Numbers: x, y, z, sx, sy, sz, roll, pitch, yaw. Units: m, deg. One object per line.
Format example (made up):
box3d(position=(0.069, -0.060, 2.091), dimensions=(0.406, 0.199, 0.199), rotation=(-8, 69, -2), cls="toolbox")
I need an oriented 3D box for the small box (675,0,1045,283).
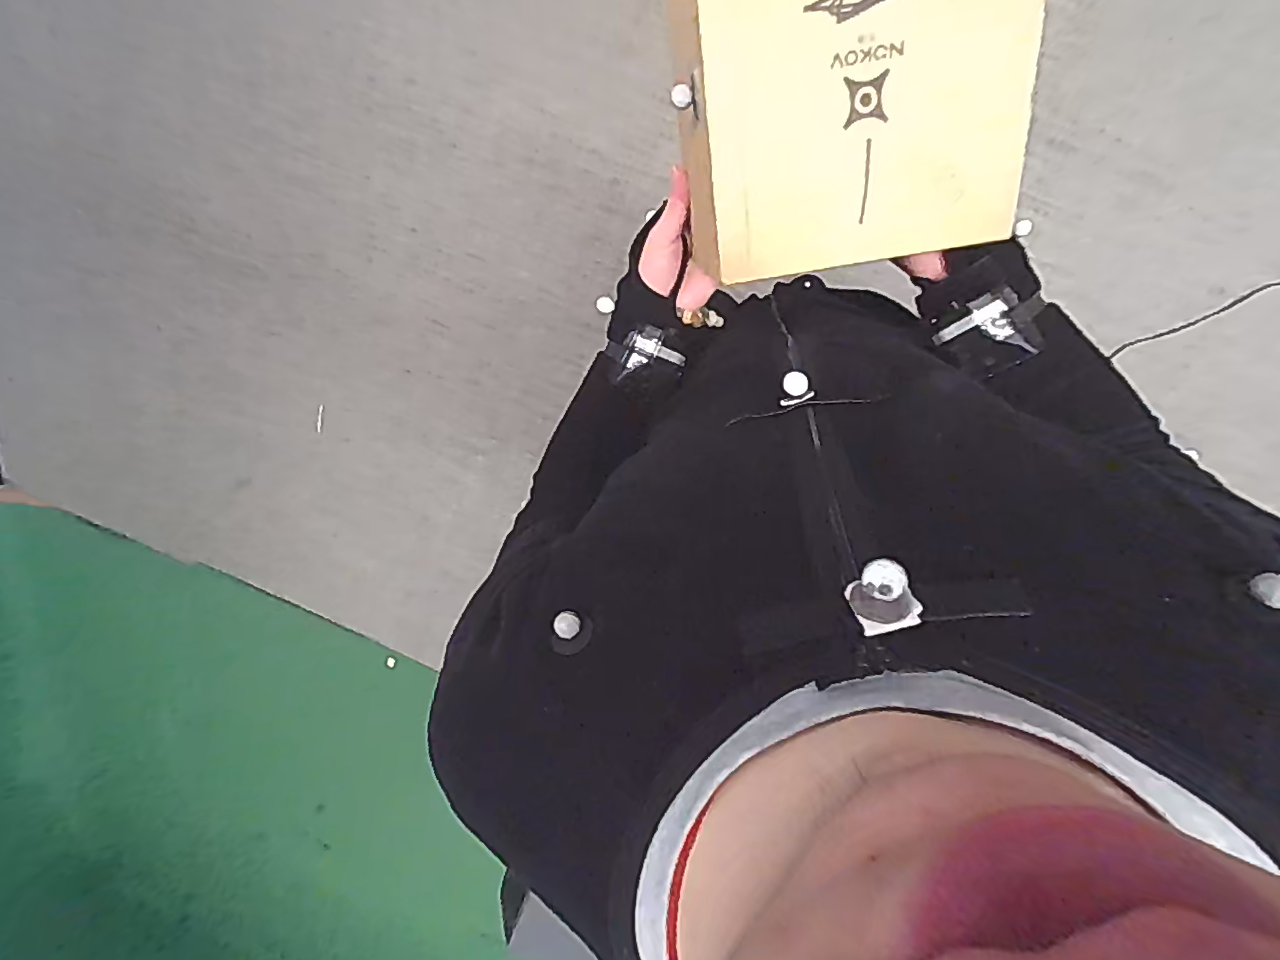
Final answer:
box3d(position=(0.117, -0.237, 0.347), dimensions=(0.168, 0.176, 0.179), rotation=(-8, 117, 3), cls="small box")
